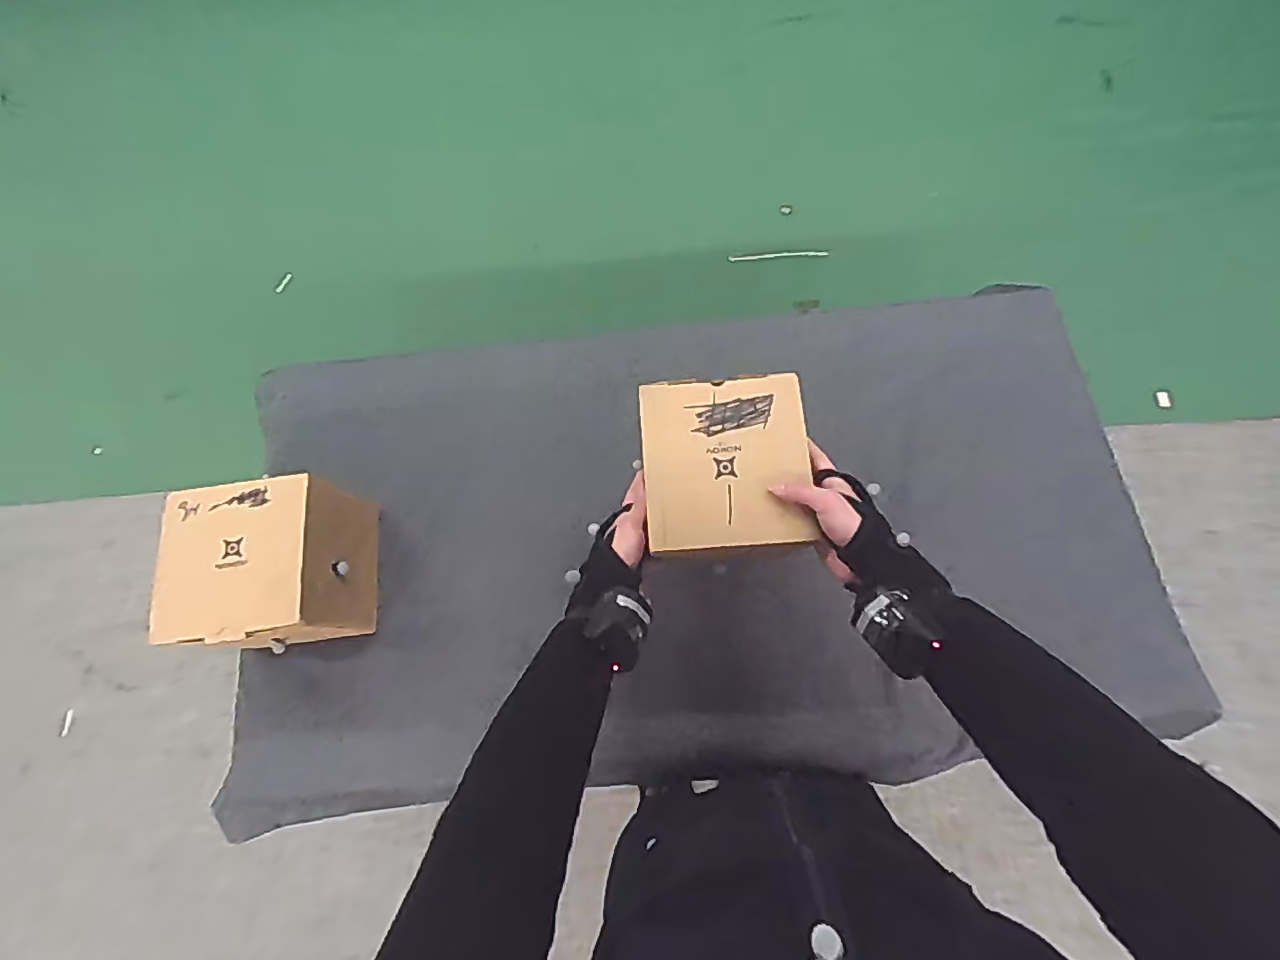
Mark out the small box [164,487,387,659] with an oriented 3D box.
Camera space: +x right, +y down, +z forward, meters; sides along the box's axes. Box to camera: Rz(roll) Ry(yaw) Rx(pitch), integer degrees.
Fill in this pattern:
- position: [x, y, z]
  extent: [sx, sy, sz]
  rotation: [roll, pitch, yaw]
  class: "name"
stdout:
- position: [-0.437, 0.122, 0.679]
  extent: [0.168, 0.176, 0.179]
  rotation: [-7, 73, -1]
  class: "small box"
